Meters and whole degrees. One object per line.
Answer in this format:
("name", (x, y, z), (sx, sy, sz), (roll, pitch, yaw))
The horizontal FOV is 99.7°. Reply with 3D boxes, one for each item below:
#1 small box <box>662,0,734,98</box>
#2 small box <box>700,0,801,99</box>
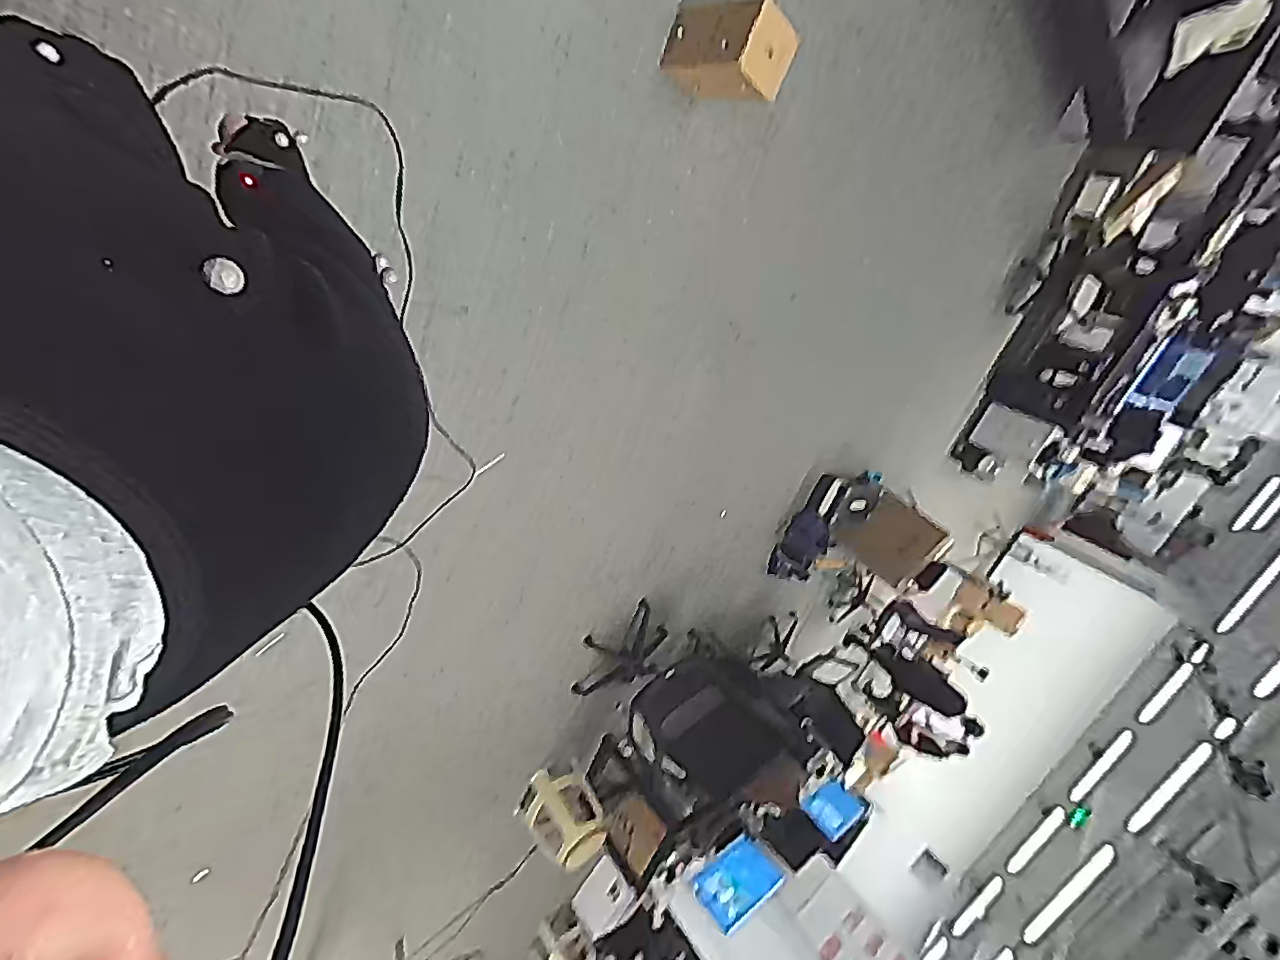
("small box", (0.199, -1.255, 1.574), (0.179, 0.176, 0.168), (4, 117, -46))
("small box", (0.296, -1.176, 1.471), (0.179, 0.176, 0.168), (4, 118, -48))
